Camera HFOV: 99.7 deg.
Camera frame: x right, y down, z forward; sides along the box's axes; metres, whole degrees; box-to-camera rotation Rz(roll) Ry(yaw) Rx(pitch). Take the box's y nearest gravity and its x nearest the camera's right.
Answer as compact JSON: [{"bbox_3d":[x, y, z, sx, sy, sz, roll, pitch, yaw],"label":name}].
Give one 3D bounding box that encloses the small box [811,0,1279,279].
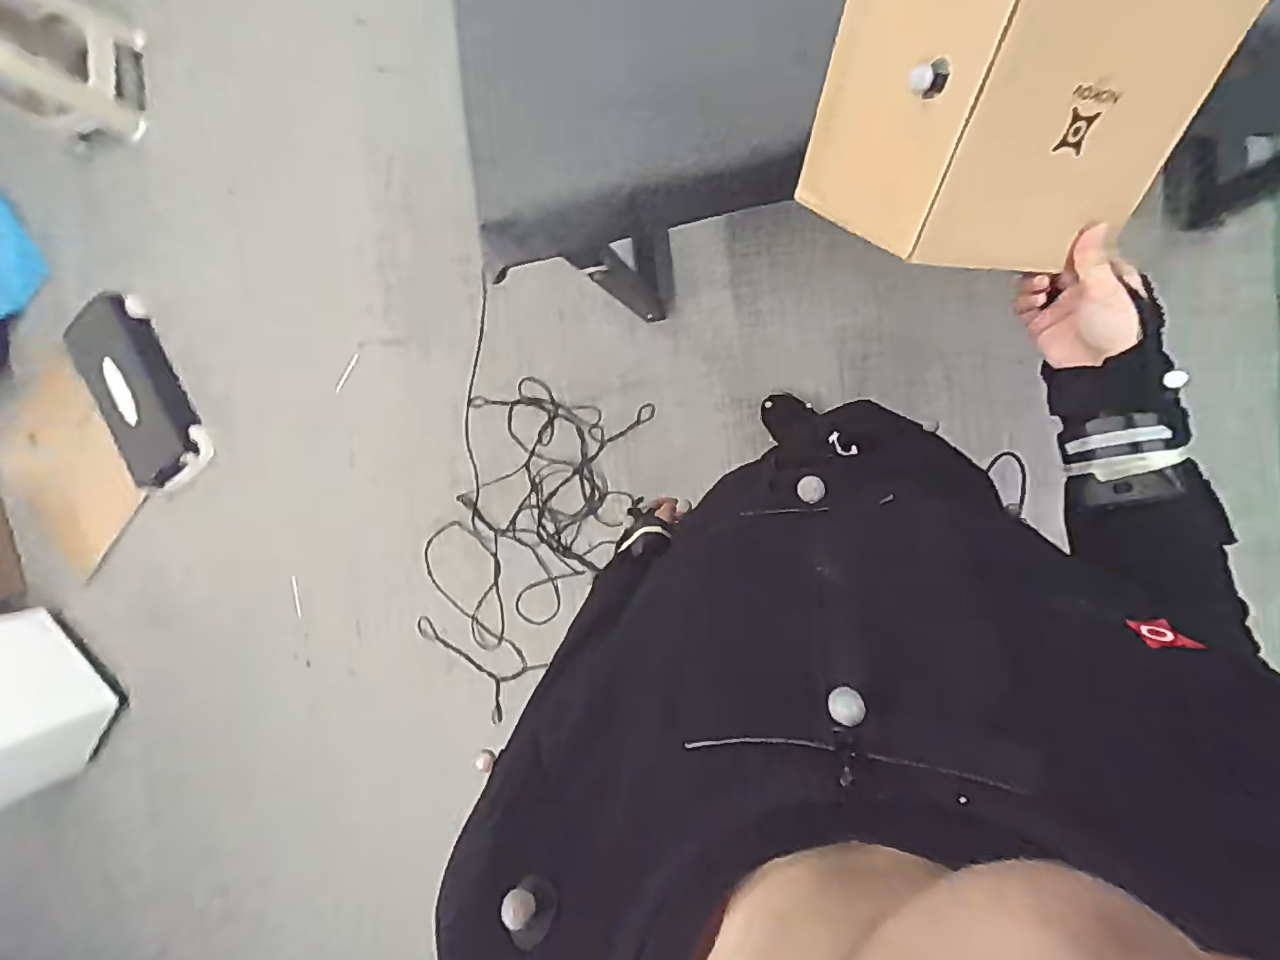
[{"bbox_3d":[0.244,-0.259,0.375,0.168,0.176,0.179,-3,129,-15],"label":"small box"}]
